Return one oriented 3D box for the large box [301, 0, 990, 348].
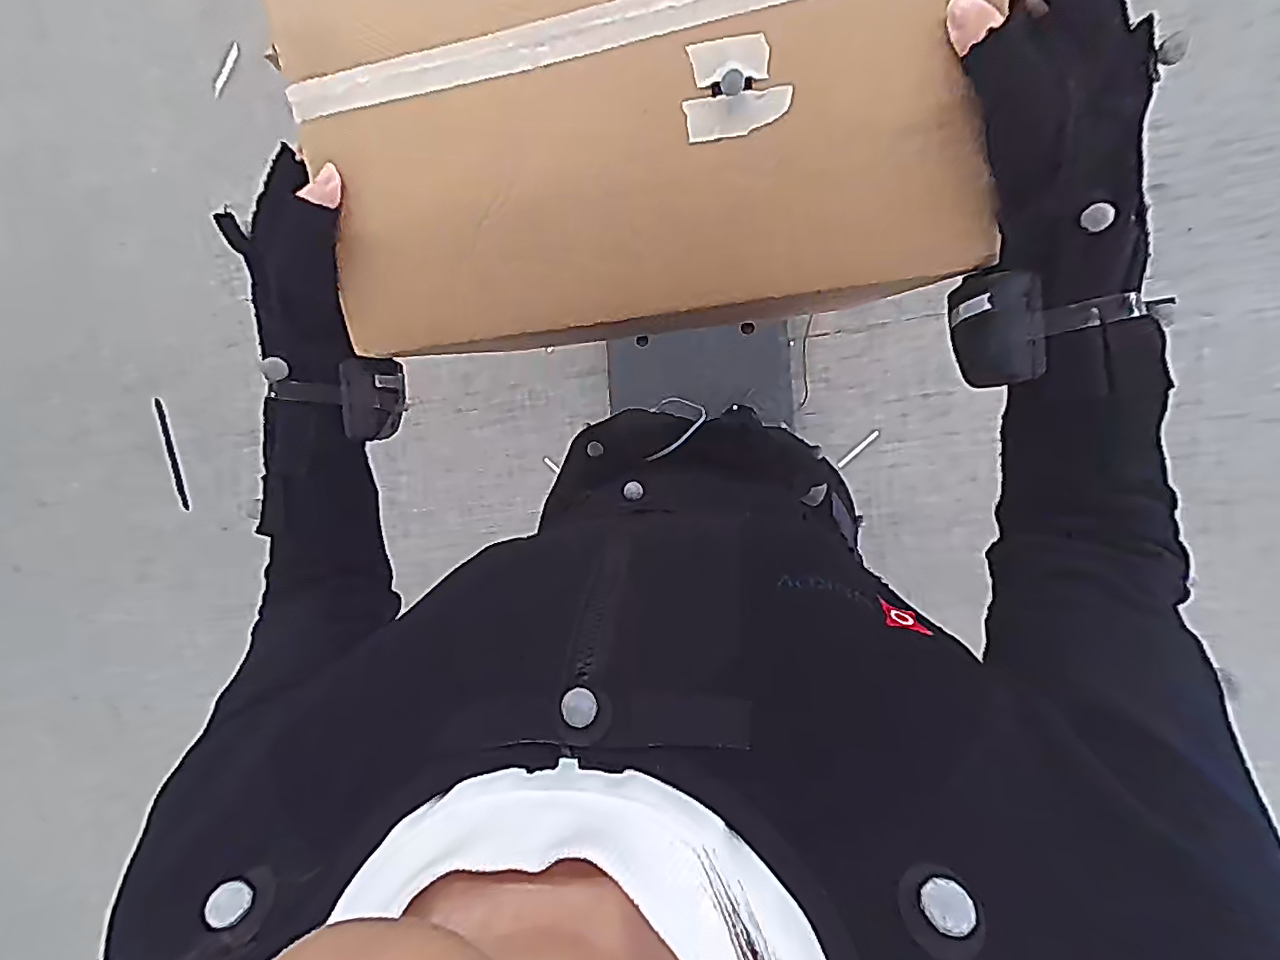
[{"bbox_3d":[0.009,-0.298,0.460,0.408,0.320,0.320,-6,104,10],"label":"large box"}]
